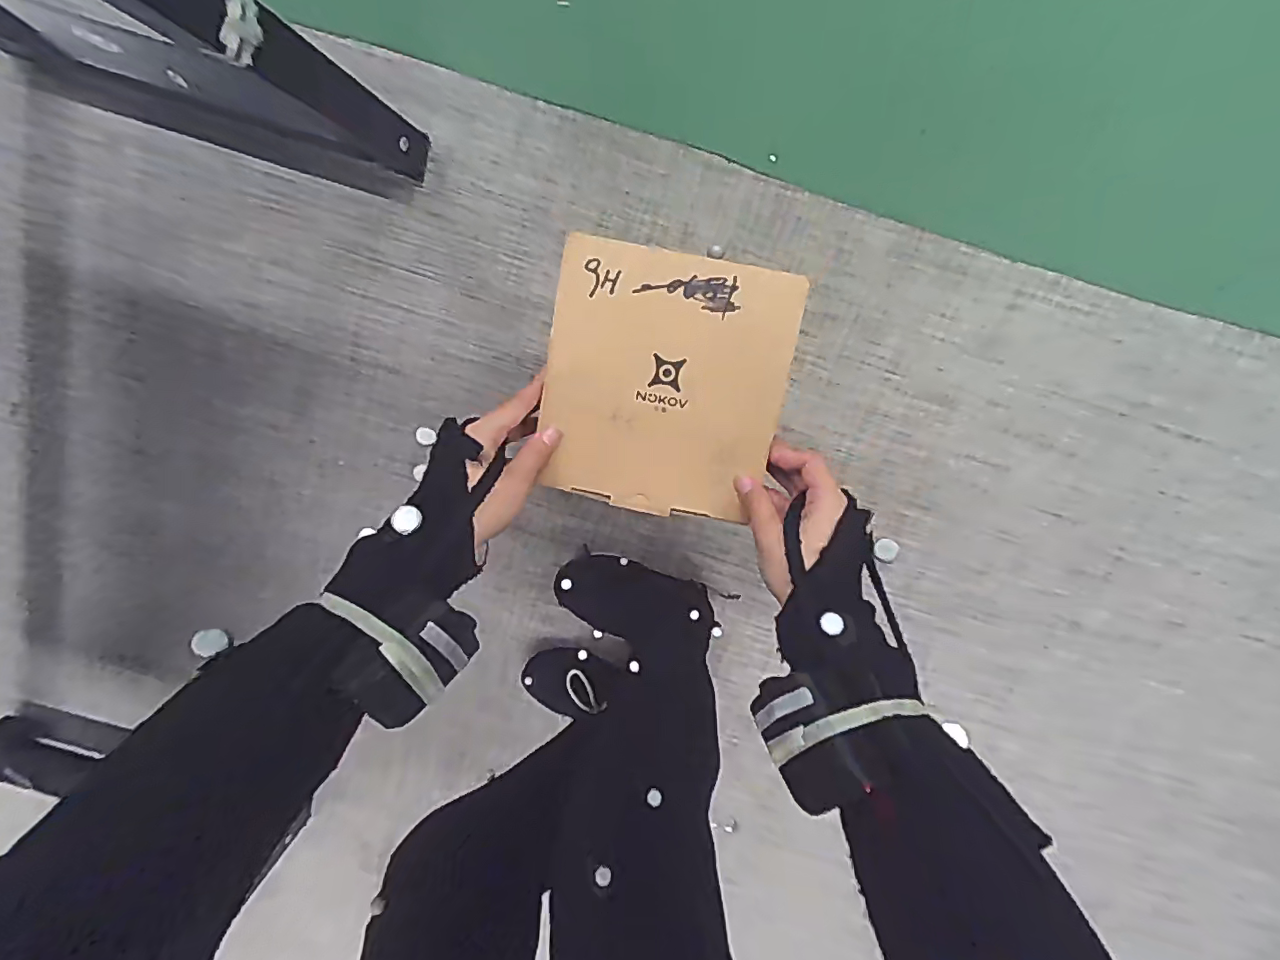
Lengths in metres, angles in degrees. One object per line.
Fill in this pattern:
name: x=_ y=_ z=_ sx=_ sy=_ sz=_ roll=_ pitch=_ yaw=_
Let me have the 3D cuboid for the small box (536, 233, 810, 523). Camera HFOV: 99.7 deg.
small box: x=0.022 y=-0.084 z=0.456 sx=0.168 sy=0.176 sz=0.179 roll=11 pitch=103 yaw=0
